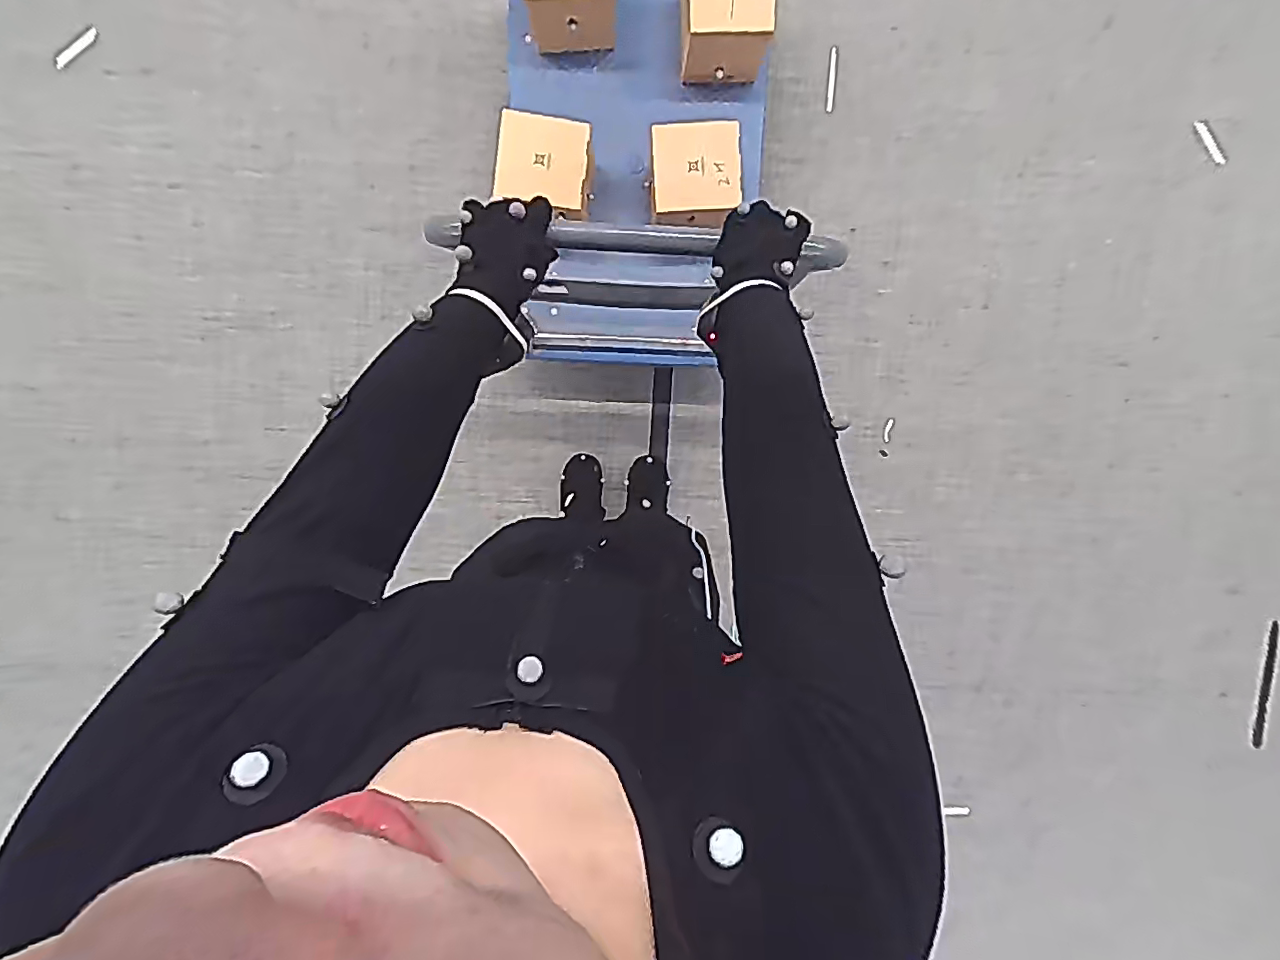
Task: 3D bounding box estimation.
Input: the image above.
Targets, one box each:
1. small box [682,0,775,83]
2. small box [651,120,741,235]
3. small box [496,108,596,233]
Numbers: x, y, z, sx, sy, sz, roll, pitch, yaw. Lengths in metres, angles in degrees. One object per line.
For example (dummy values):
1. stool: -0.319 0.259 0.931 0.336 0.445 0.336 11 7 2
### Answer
1. small box: 0.176 -0.964 1.113 0.168 0.176 0.179 -1 98 -1
2. small box: 0.113 -0.634 1.153 0.179 0.176 0.168 -3 97 -1
3. small box: -0.192 -0.643 1.144 0.179 0.176 0.168 8 96 -4
